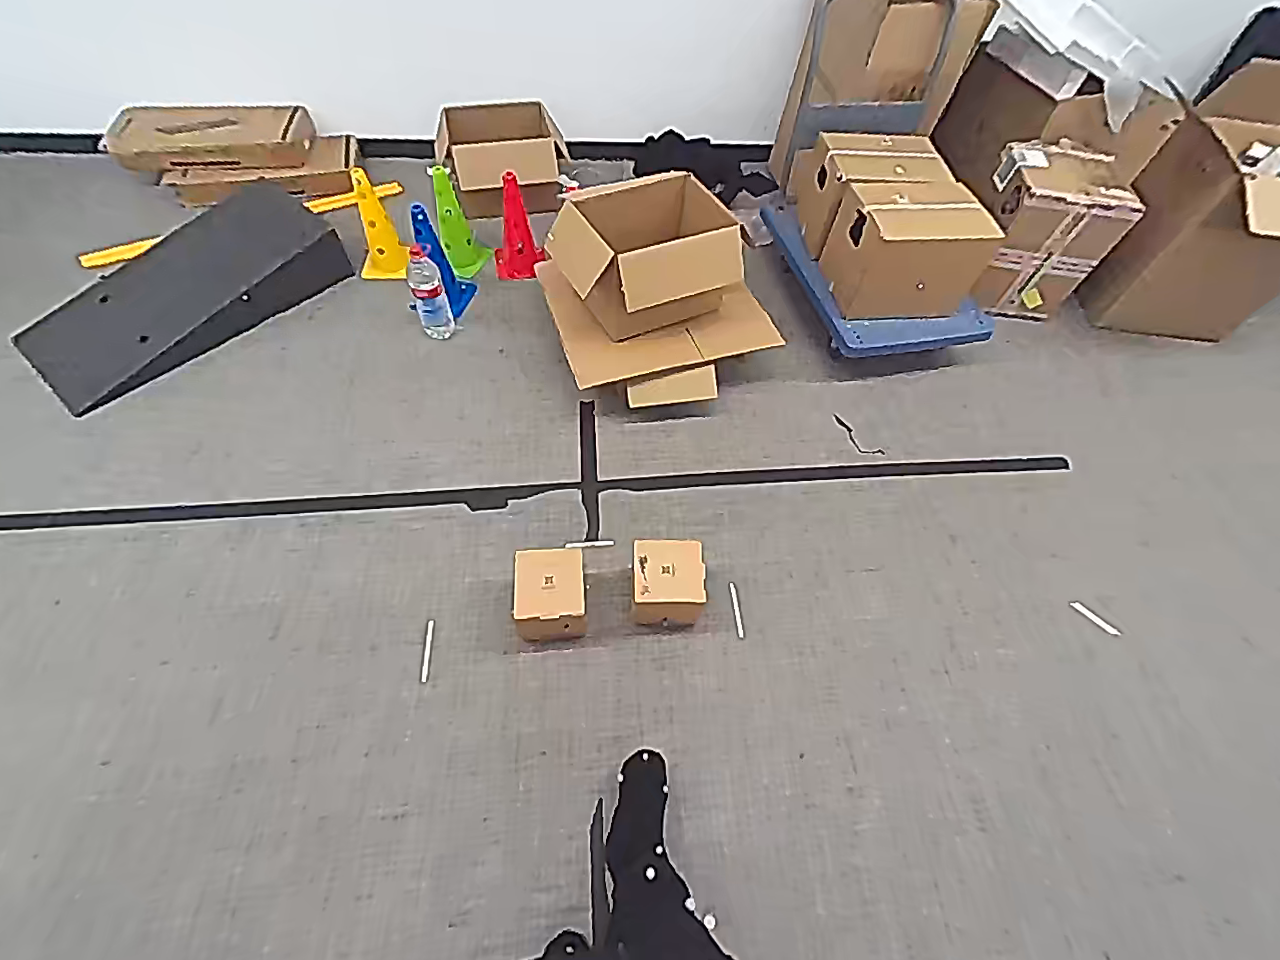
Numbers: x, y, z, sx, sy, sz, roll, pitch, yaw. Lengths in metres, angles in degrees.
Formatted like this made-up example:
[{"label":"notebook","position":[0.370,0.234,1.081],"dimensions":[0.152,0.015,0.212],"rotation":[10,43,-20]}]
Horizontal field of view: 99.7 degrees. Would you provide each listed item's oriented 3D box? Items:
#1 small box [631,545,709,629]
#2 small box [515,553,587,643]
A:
[{"label":"small box","position":[0.070,0.279,1.392],"dimensions":[0.179,0.176,0.168],"rotation":[2,57,-4]},{"label":"small box","position":[-0.218,0.302,1.354],"dimensions":[0.168,0.176,0.179],"rotation":[-3,56,-8]}]
